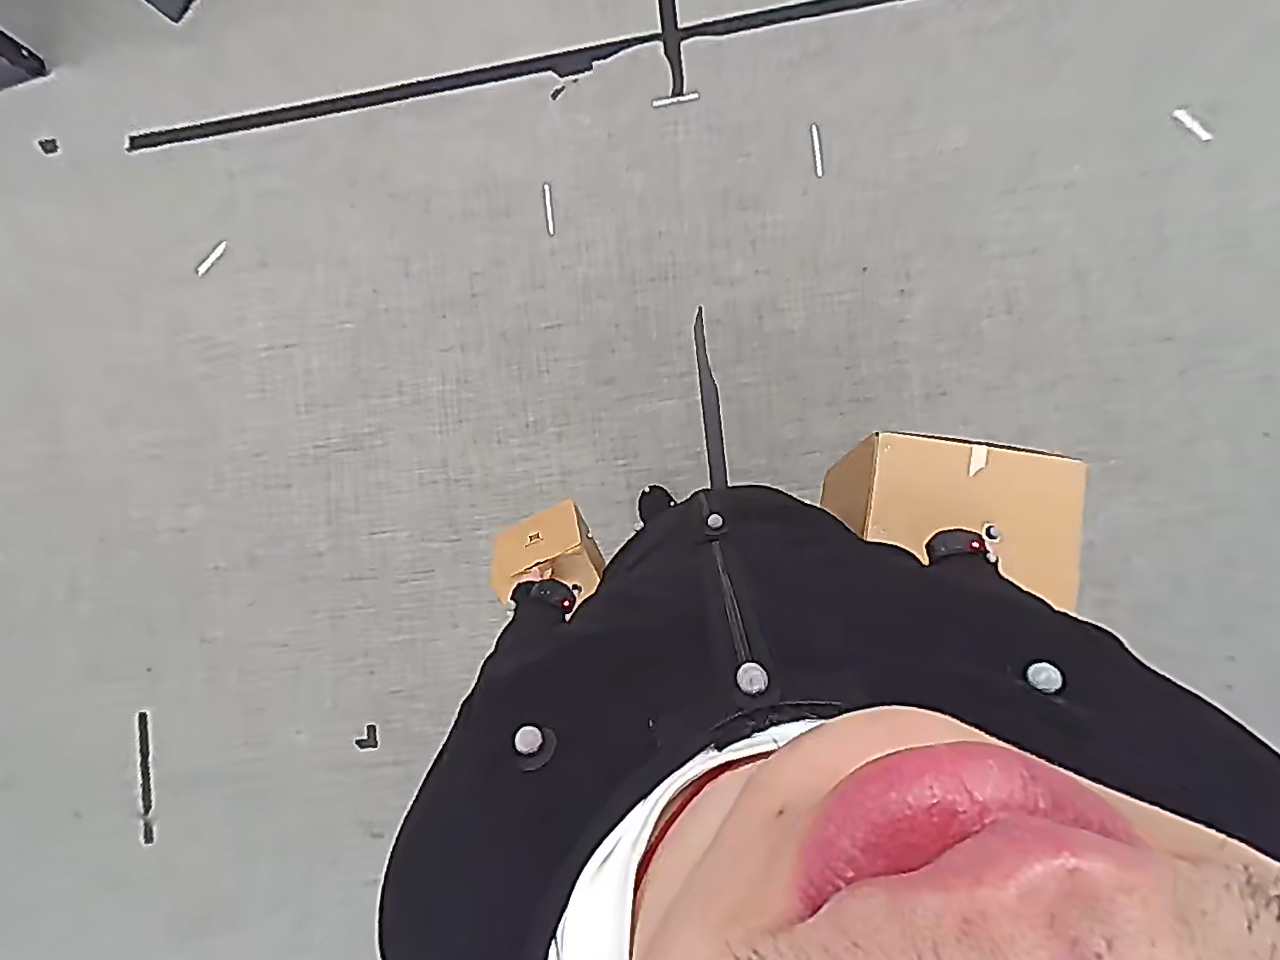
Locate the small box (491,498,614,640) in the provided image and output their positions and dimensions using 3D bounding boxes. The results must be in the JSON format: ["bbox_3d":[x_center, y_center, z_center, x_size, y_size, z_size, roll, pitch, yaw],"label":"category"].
[{"bbox_3d":[-0.160,0.169,1.000,0.168,0.179,0.176,-24,118,-1],"label":"small box"}]
